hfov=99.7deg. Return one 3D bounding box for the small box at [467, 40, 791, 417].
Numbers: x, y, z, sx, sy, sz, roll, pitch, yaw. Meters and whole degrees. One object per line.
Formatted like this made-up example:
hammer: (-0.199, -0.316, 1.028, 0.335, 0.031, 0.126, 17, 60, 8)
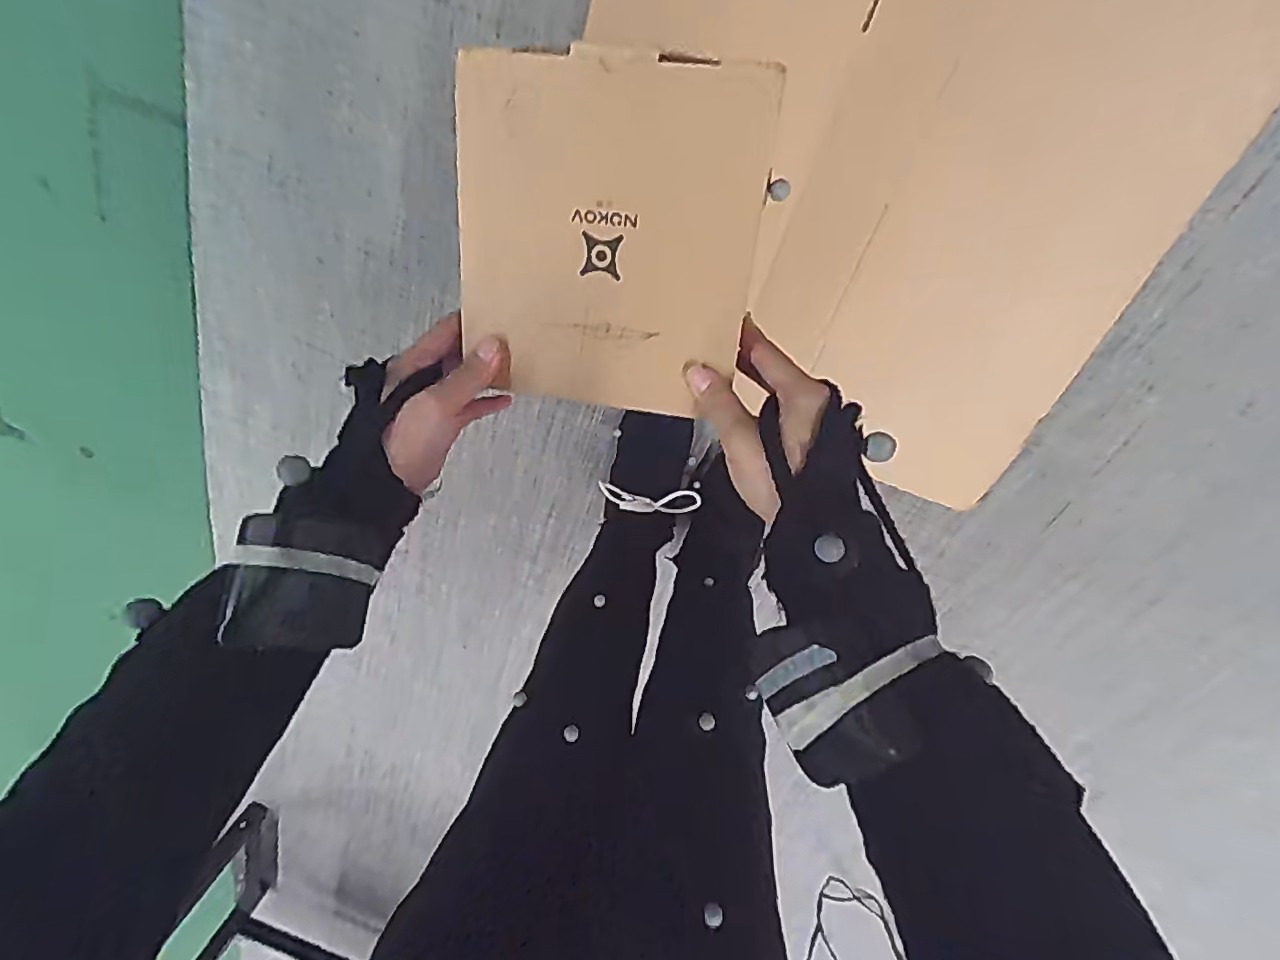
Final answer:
small box: (-0.003, -0.159, 0.369, 0.168, 0.176, 0.179, 10, 114, 8)
